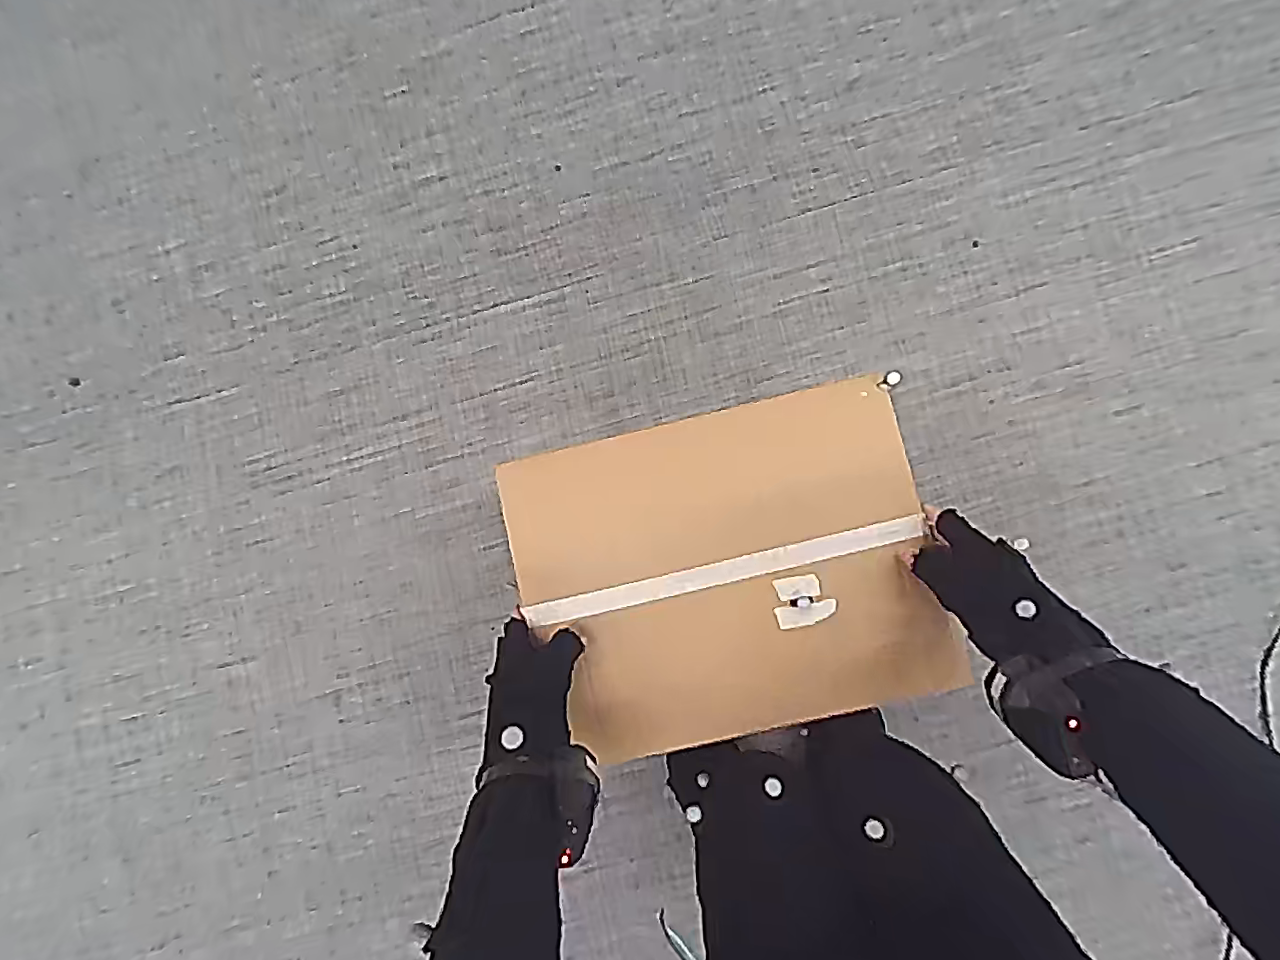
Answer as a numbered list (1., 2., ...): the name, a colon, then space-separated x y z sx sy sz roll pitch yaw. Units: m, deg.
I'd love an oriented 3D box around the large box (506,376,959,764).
1. large box: 0.092 0.102 0.695 0.408 0.320 0.320 -14 85 1
